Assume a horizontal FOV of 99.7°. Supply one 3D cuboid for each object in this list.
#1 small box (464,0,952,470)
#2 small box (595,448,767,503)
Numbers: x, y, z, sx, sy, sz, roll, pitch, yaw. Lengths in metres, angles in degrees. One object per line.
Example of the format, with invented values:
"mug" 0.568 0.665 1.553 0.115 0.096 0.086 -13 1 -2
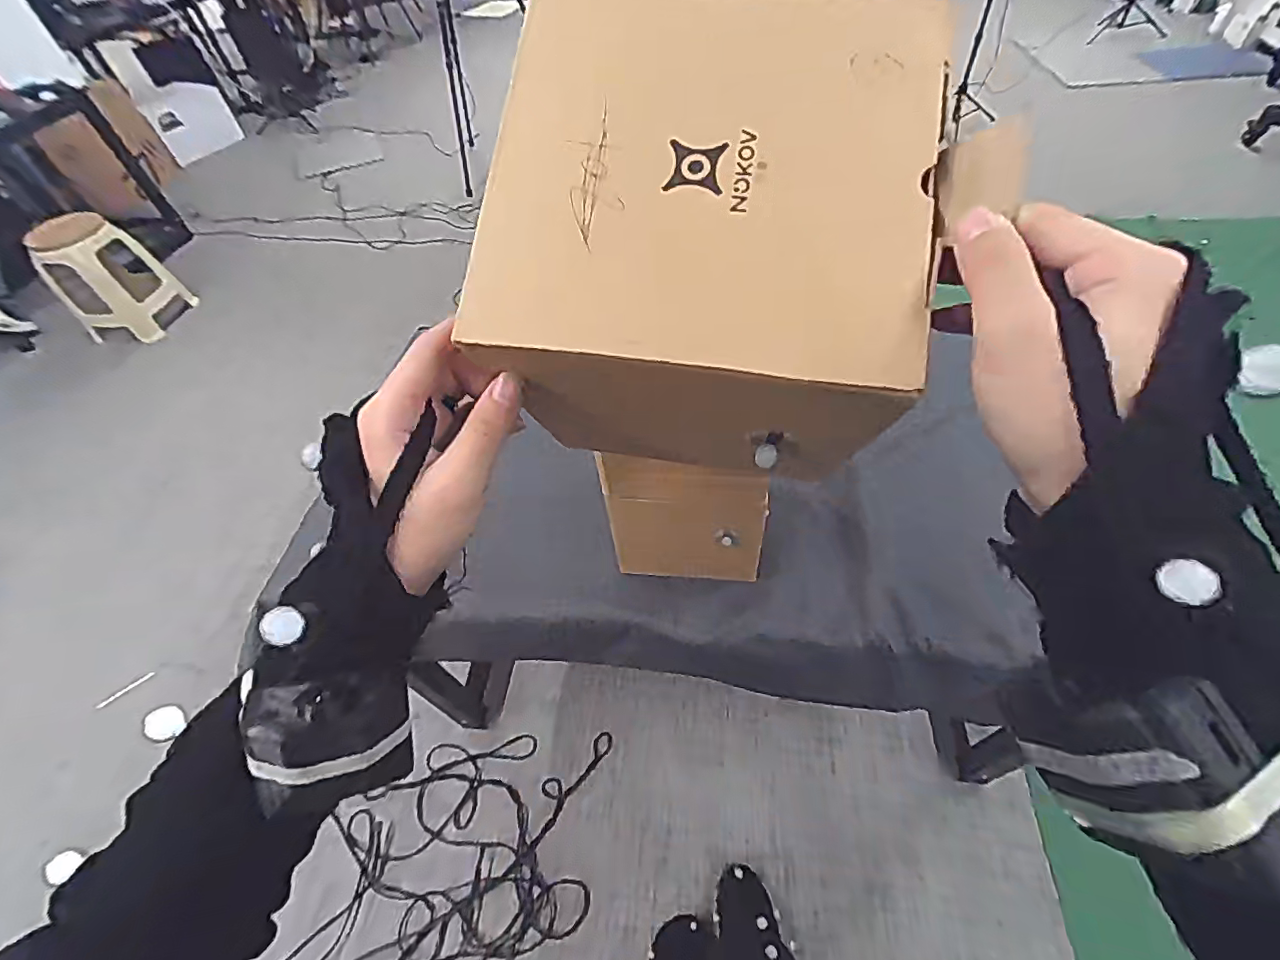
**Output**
"small box" 0.036 -0.107 0.292 0.179 0.176 0.168 7 79 8
"small box" 0.047 -0.090 0.557 0.179 0.176 0.168 3 51 8
